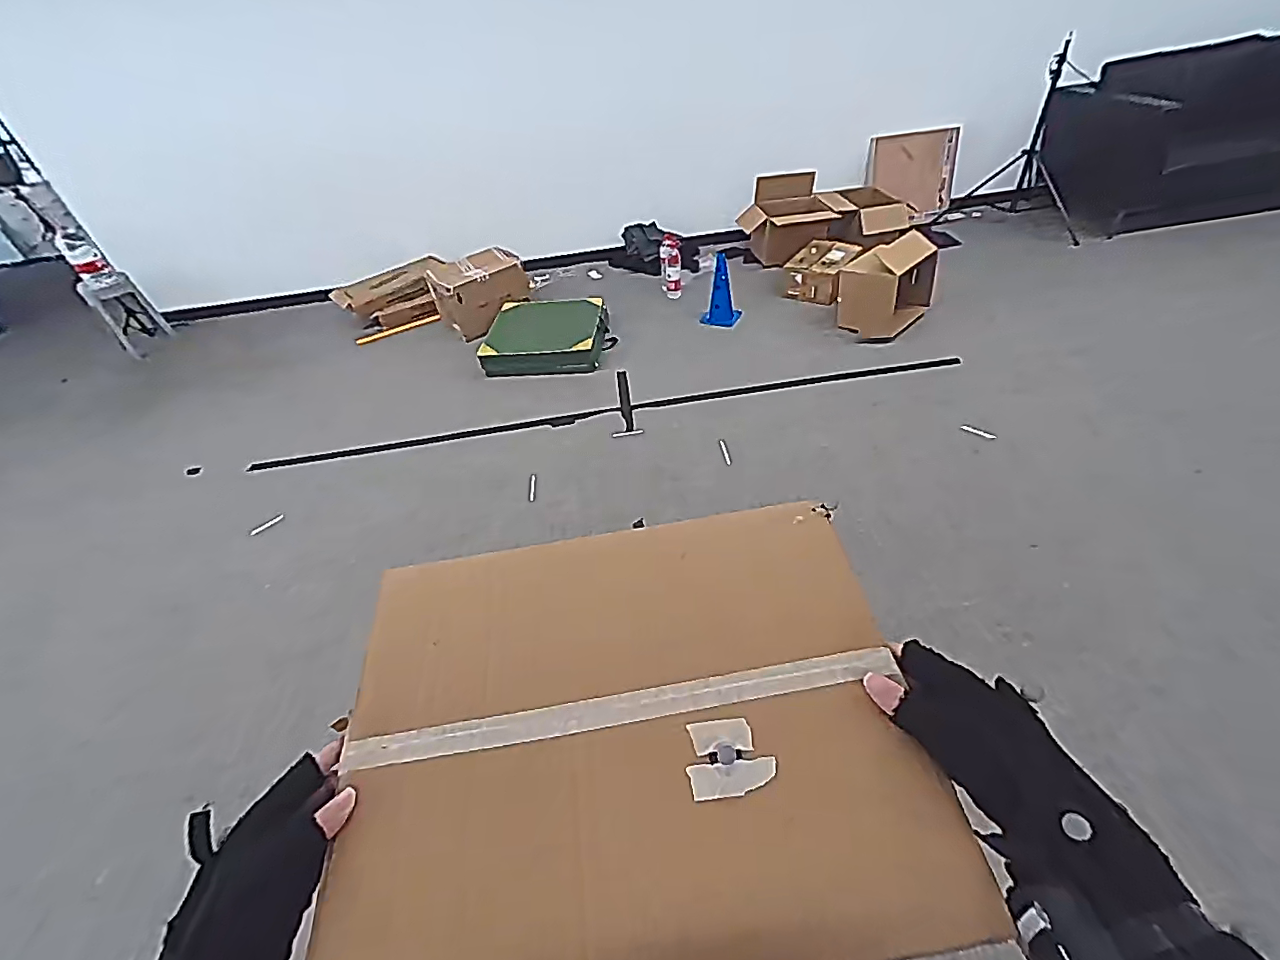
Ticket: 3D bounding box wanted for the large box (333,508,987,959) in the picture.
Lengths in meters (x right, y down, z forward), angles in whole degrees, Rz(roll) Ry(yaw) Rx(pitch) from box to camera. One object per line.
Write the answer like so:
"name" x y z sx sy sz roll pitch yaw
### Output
"large box" 0.002 0.269 0.521 0.408 0.320 0.320 -9 50 -2
